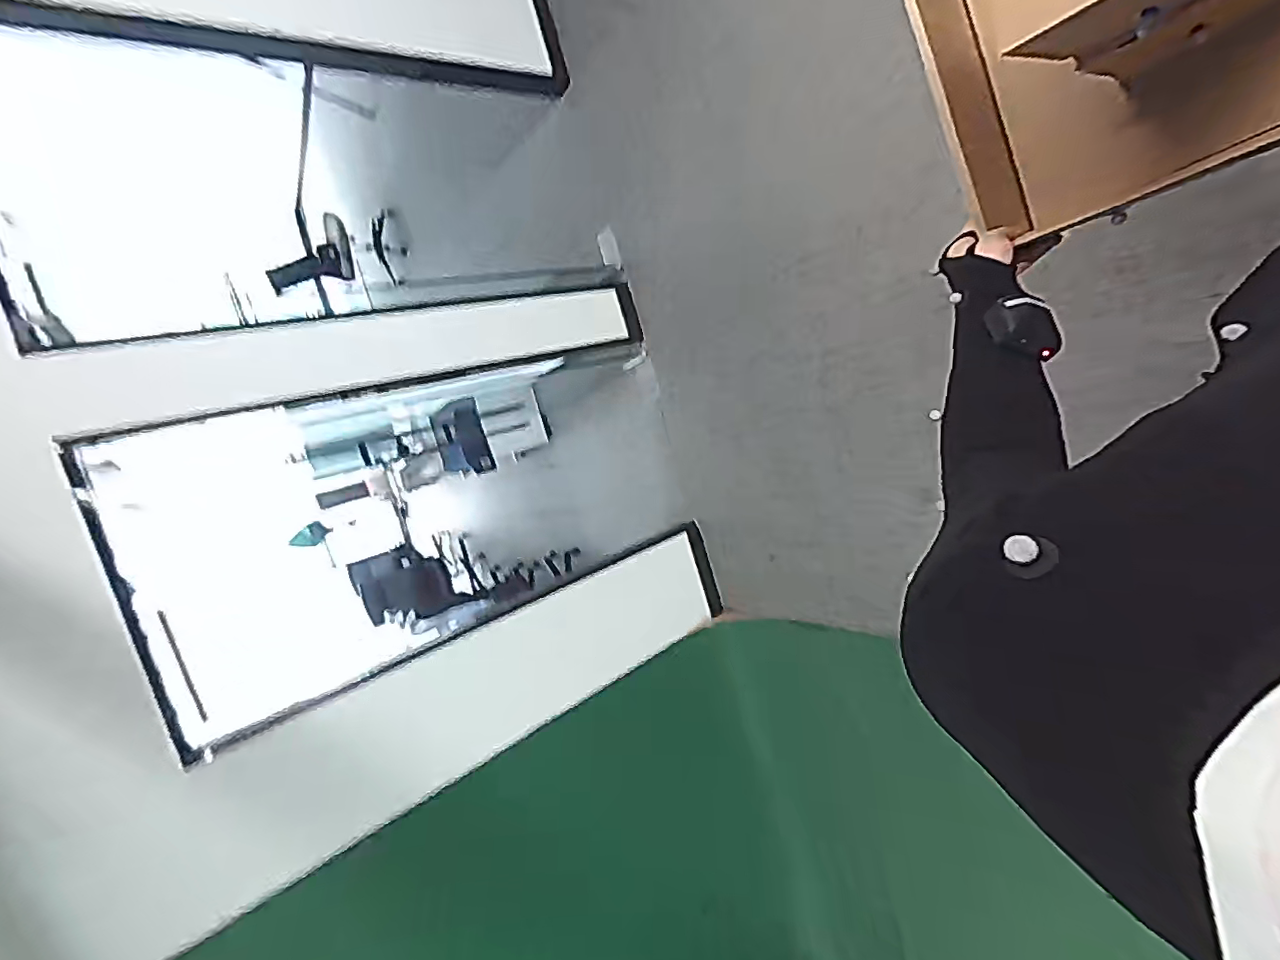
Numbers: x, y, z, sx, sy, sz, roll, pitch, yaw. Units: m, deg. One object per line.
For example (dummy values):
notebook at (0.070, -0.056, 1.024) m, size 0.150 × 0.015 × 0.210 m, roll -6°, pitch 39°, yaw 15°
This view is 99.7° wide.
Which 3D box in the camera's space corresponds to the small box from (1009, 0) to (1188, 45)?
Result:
small box at (0.368, -0.442, 0.369) m, size 0.168 × 0.176 × 0.179 m, roll 2°, pitch 114°, yaw 54°

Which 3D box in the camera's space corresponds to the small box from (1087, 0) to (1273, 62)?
small box at (0.492, -0.497, 0.460) m, size 0.168 × 0.176 × 0.179 m, roll -5°, pitch 109°, yaw 54°
